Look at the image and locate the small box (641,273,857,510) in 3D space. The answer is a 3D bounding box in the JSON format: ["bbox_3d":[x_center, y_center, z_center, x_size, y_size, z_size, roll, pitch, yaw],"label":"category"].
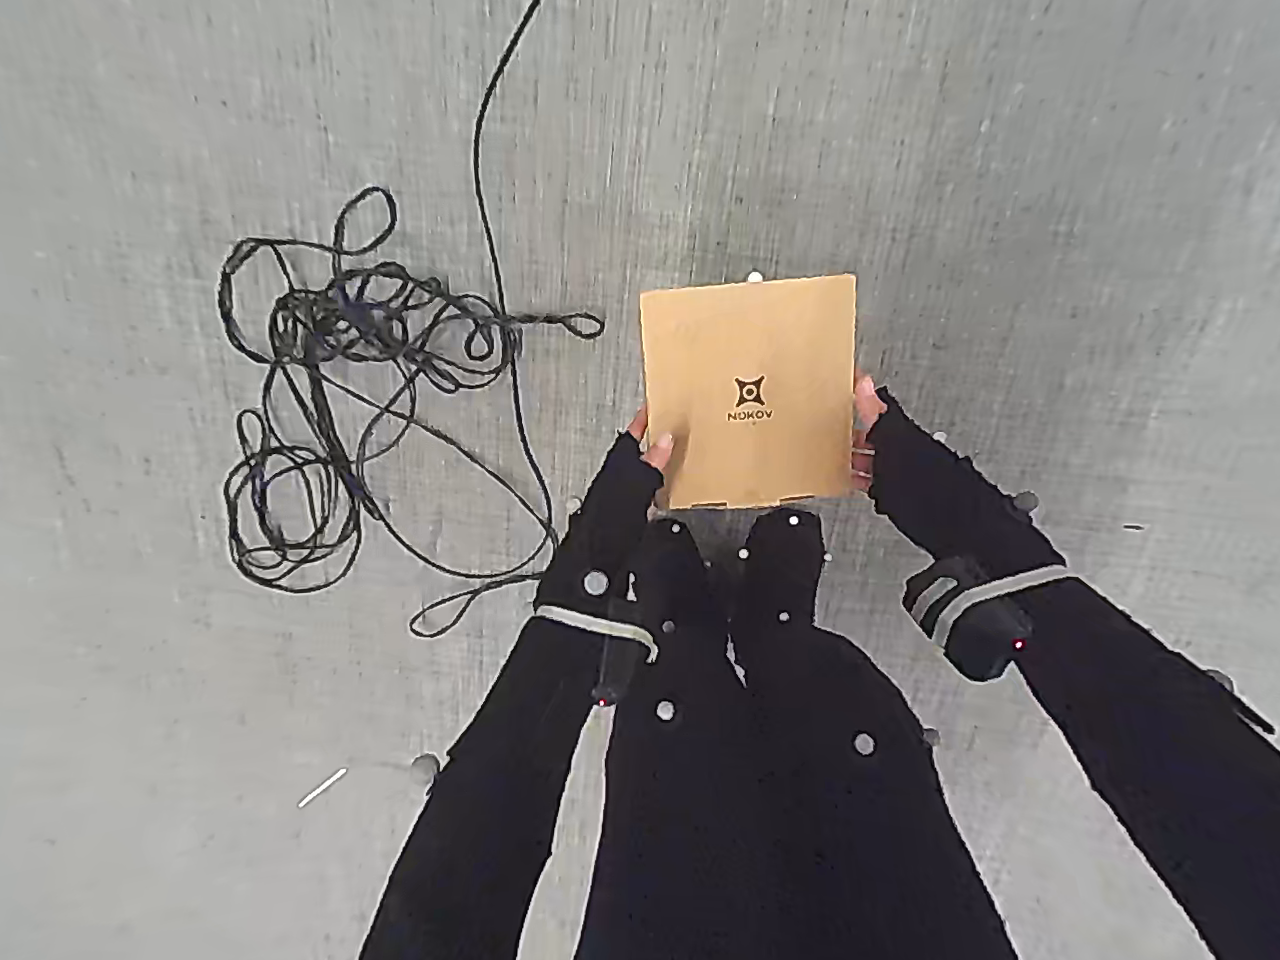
[{"bbox_3d":[0.087,-0.083,0.501,0.168,0.176,0.179,-4,104,2],"label":"small box"}]
